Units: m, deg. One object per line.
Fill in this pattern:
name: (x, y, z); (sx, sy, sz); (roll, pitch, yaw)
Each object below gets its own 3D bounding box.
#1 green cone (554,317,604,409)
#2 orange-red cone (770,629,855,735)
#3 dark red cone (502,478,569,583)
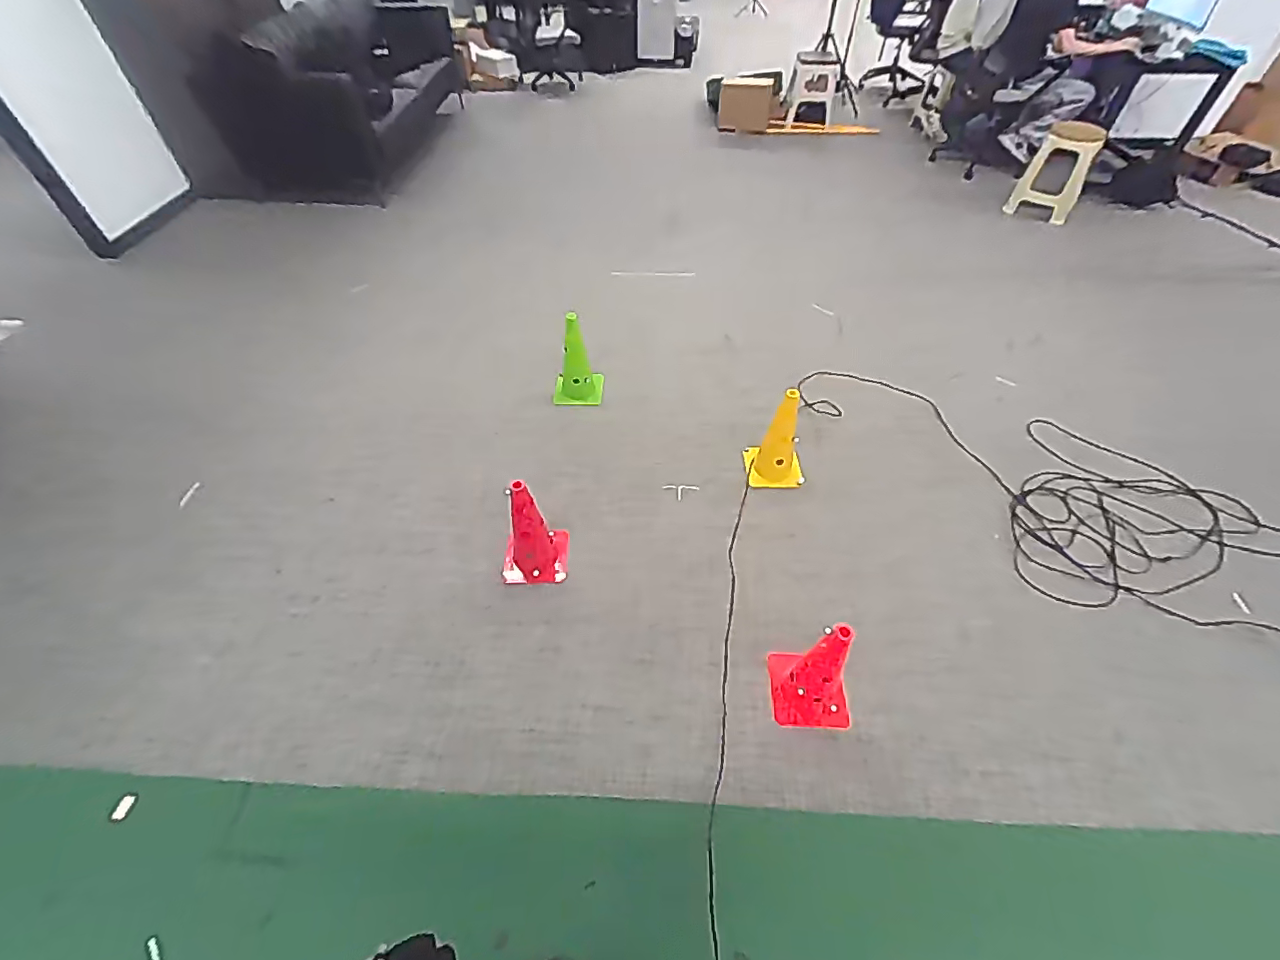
green cone: (-0.255, -0.483, 2.175); (0.202, 0.368, 0.200); (2, 49, 0)
orange-red cone: (0.457, 0.463, 1.332); (0.198, 0.360, 0.199); (3, 48, 2)
dark red cone: (-0.329, 0.132, 1.597); (0.202, 0.394, 0.201); (-2, 50, -2)
